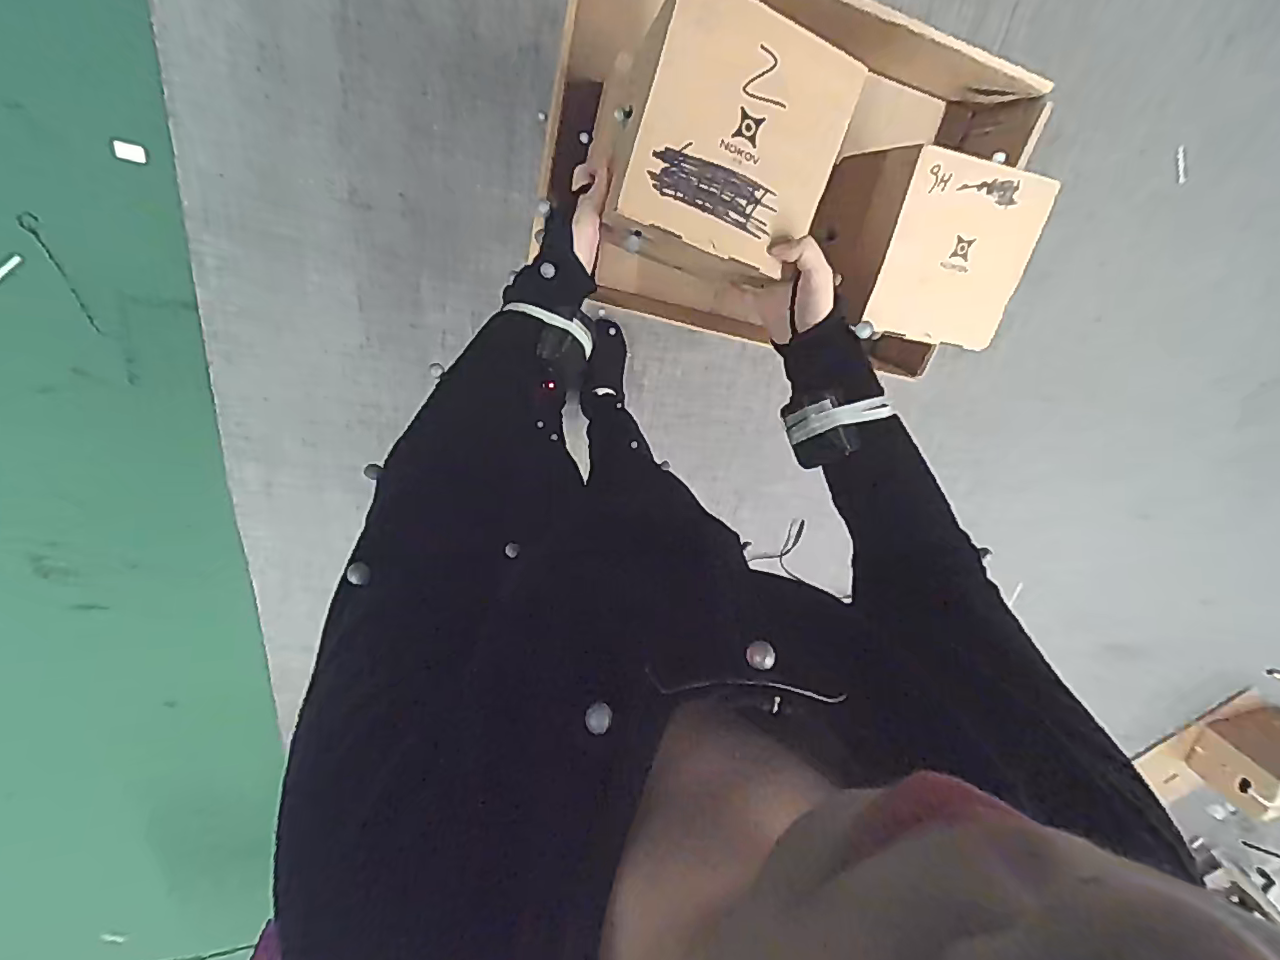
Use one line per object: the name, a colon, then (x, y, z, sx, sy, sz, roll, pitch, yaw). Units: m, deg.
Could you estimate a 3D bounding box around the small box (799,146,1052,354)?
small box: (0.310, -0.267, 0.634, 0.168, 0.176, 0.179, 6, 116, -14)
